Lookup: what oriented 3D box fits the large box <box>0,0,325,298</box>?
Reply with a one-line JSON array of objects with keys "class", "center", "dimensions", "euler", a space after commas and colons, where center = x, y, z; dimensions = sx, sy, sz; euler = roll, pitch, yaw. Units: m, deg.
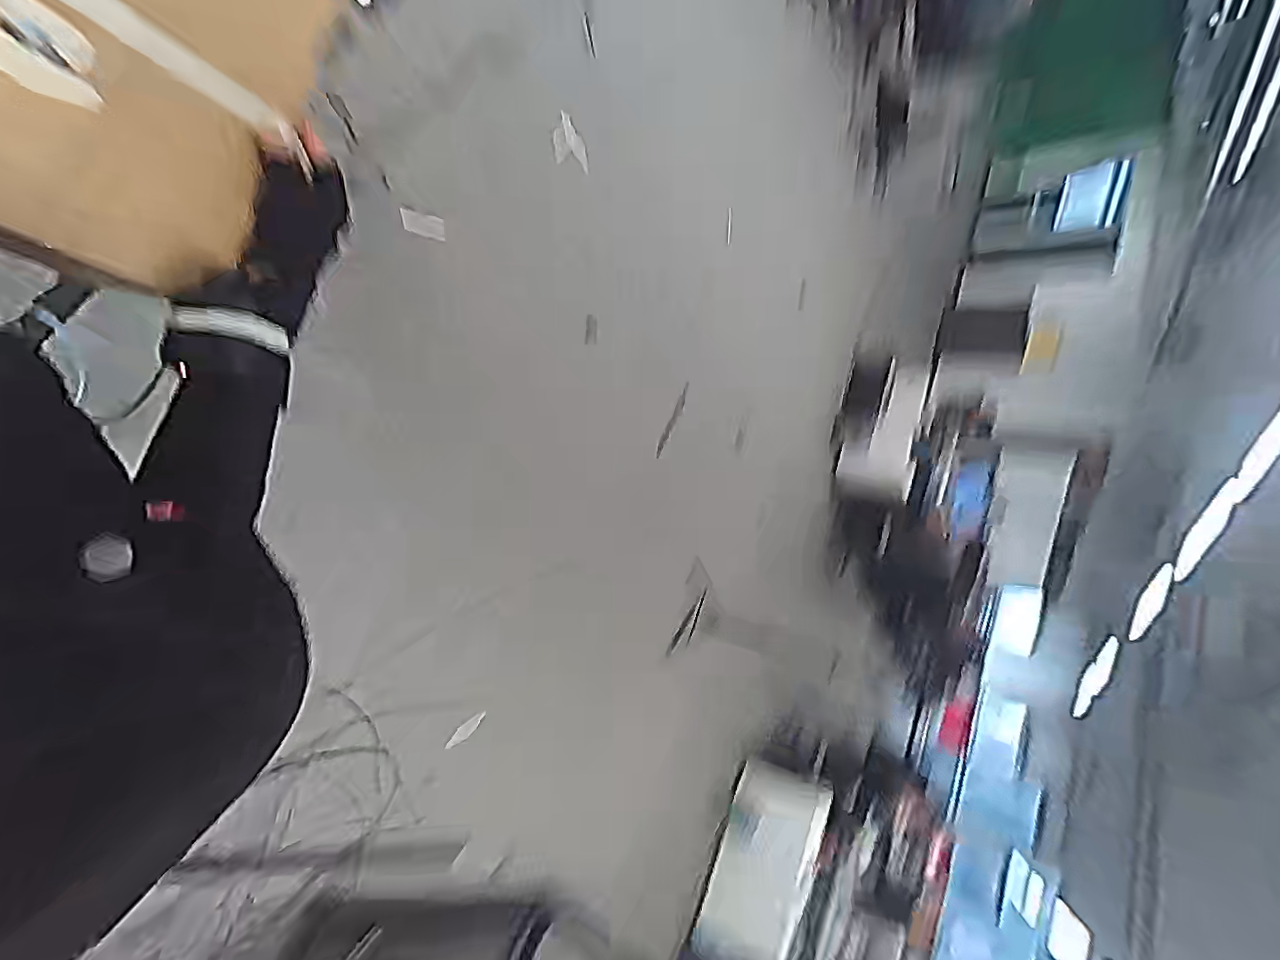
[{"class": "large box", "center": [-0.526, -0.366, 0.368], "dimensions": [0.408, 0.320, 0.320], "euler": [21, 88, -58]}]
